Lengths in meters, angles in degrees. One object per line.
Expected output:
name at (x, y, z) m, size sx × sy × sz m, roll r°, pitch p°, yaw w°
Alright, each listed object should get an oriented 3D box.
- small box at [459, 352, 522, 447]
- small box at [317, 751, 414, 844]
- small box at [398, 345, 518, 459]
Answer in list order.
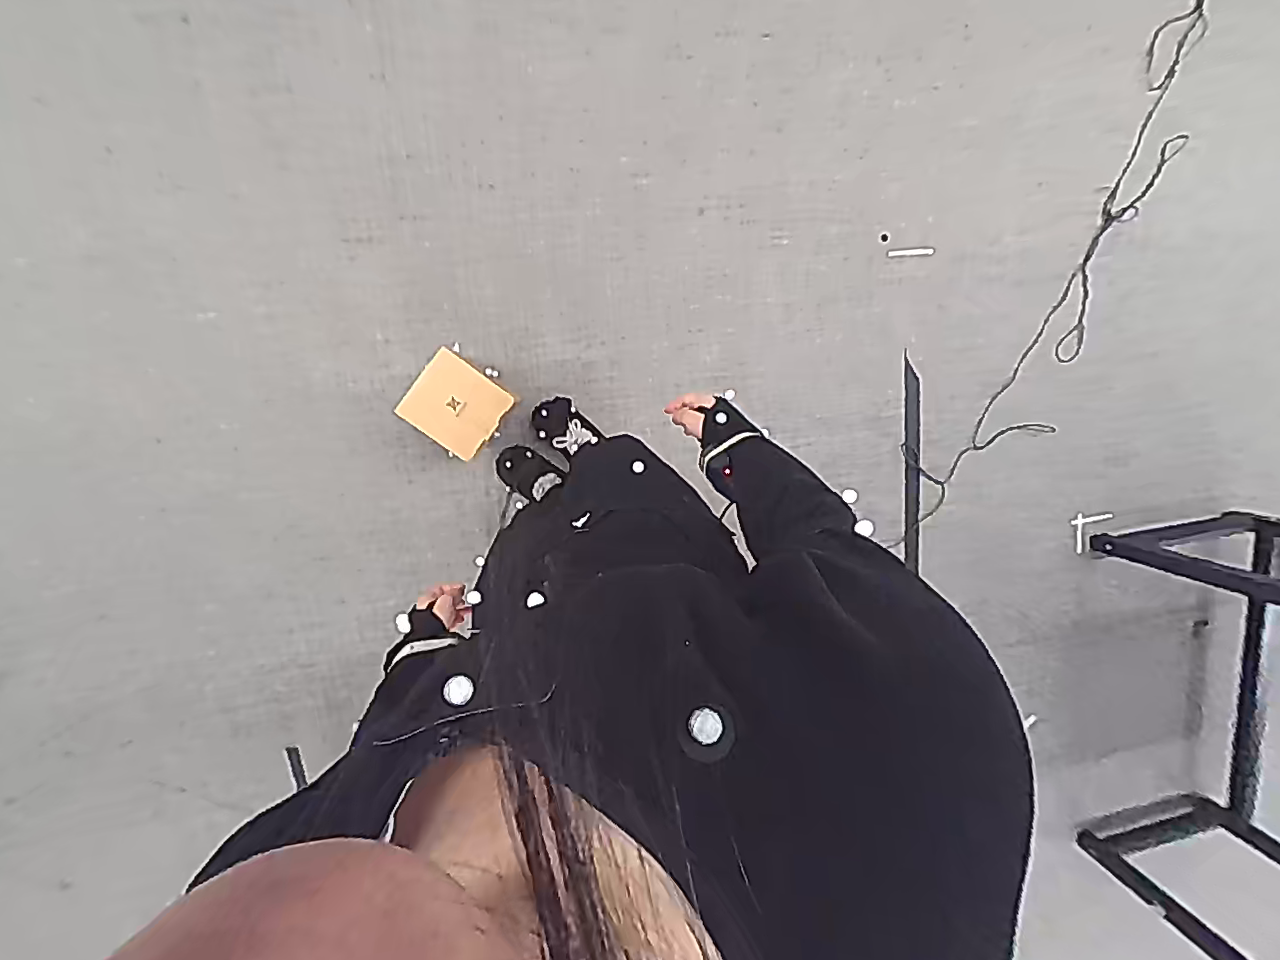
small box at (-0.408, -0.189, 1.323) m, size 0.179 × 0.176 × 0.168 m, roll 37°, pitch 91°, yaw -13°
small box at (-0.721, 0.861, 1.447) m, size 0.179 × 0.176 × 0.168 m, roll -12°, pitch 100°, yaw -6°
small box at (-0.380, -0.164, 1.164) m, size 0.179 × 0.176 × 0.168 m, roll 37°, pitch 91°, yaw -14°
